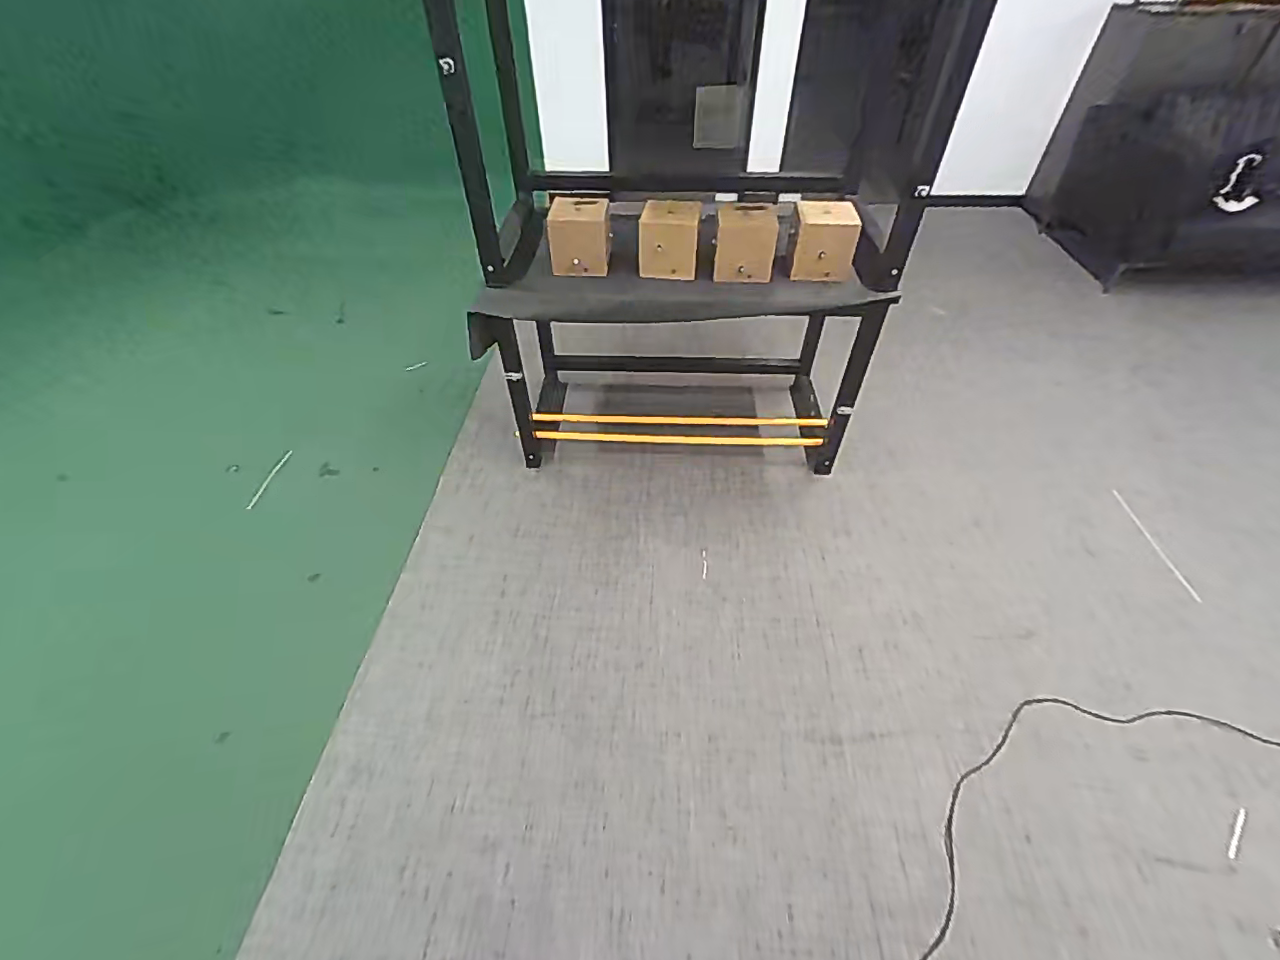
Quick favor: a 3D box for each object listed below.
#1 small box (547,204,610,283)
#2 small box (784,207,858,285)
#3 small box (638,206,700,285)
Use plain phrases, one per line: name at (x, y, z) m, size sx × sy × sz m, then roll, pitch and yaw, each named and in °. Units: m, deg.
small box at (-0.180, -0.719, 1.641) m, size 0.168 × 0.176 × 0.179 m, roll 1°, pitch 47°, yaw 2°
small box at (0.530, -0.695, 1.608) m, size 0.168 × 0.176 × 0.179 m, roll 4°, pitch 45°, yaw 4°
small box at (0.089, -0.704, 1.627) m, size 0.168 × 0.176 × 0.179 m, roll 6°, pitch 46°, yaw 6°
